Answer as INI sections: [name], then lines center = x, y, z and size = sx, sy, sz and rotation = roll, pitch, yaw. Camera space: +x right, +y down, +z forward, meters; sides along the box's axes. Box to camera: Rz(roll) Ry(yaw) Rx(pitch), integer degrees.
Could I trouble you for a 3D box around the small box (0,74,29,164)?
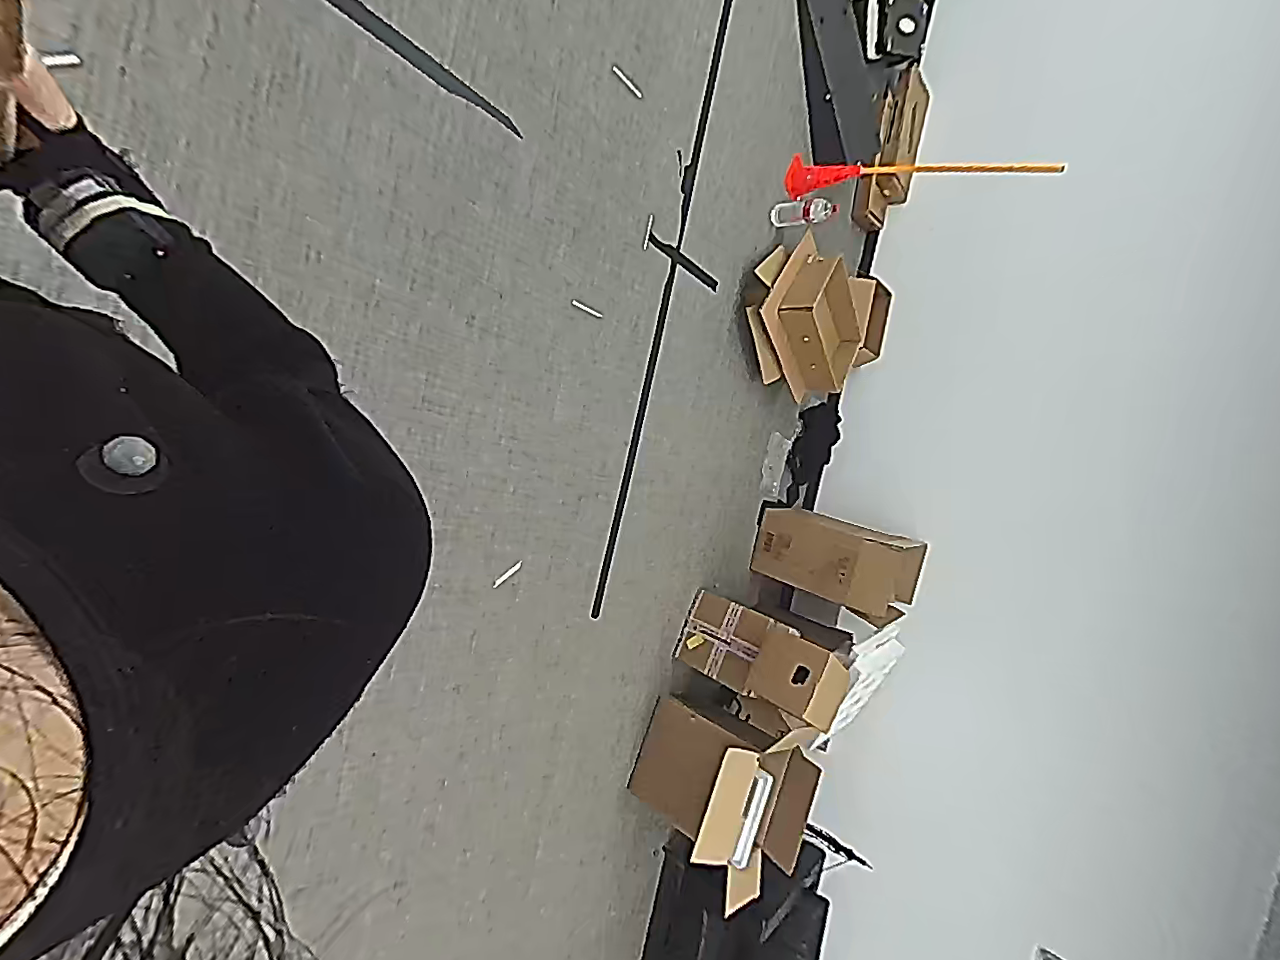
[small box]
center = -0.419, -0.252, 0.233
size = 0.168, 0.176, 0.179
rotation = -27, 119, -43
